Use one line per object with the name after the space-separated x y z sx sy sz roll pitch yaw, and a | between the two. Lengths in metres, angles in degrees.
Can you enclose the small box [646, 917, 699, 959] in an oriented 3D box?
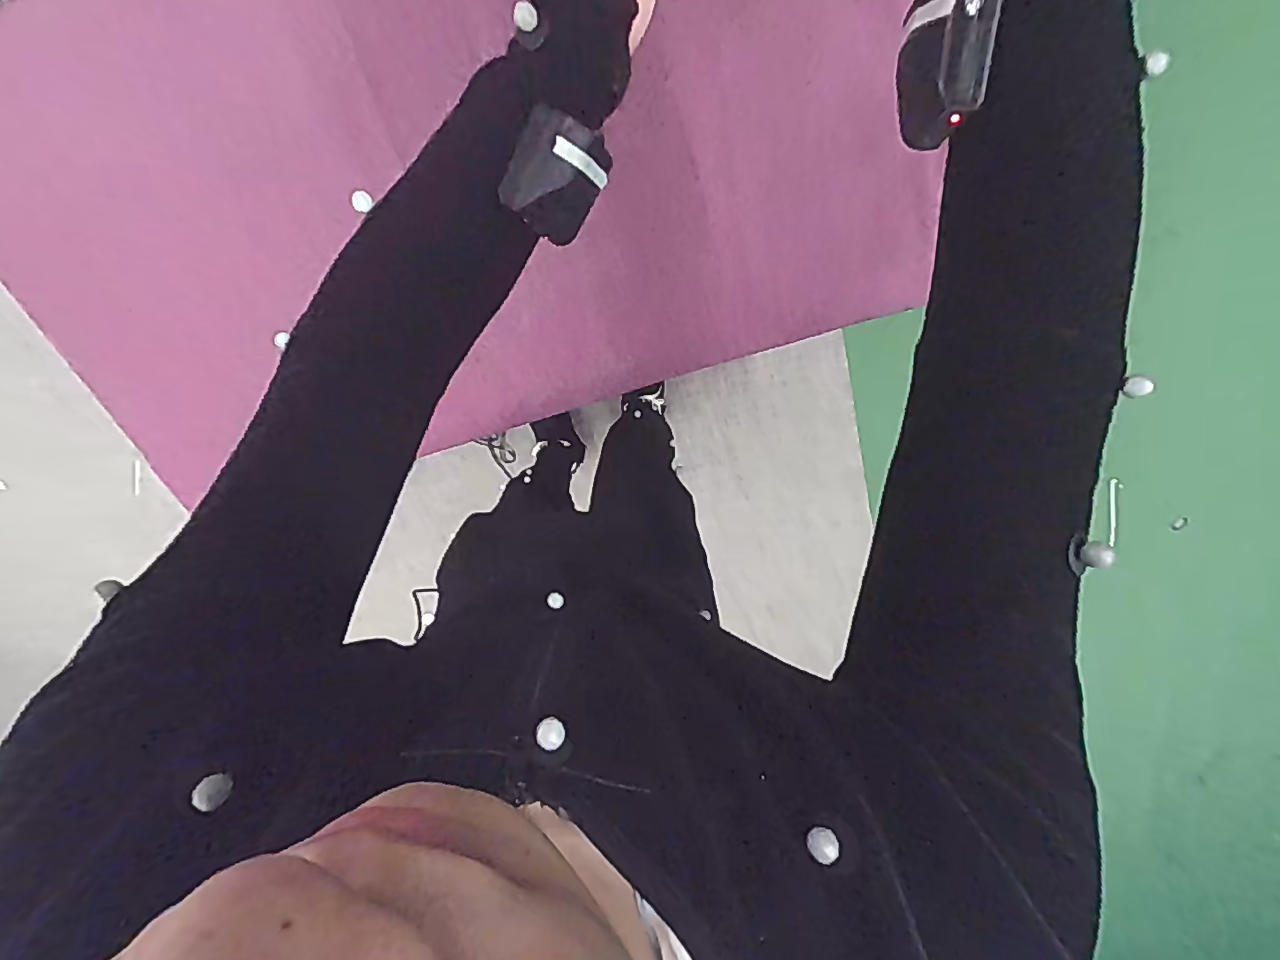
0.120 1.714 1.945 0.168 0.176 0.179 -11 116 8 | small box
